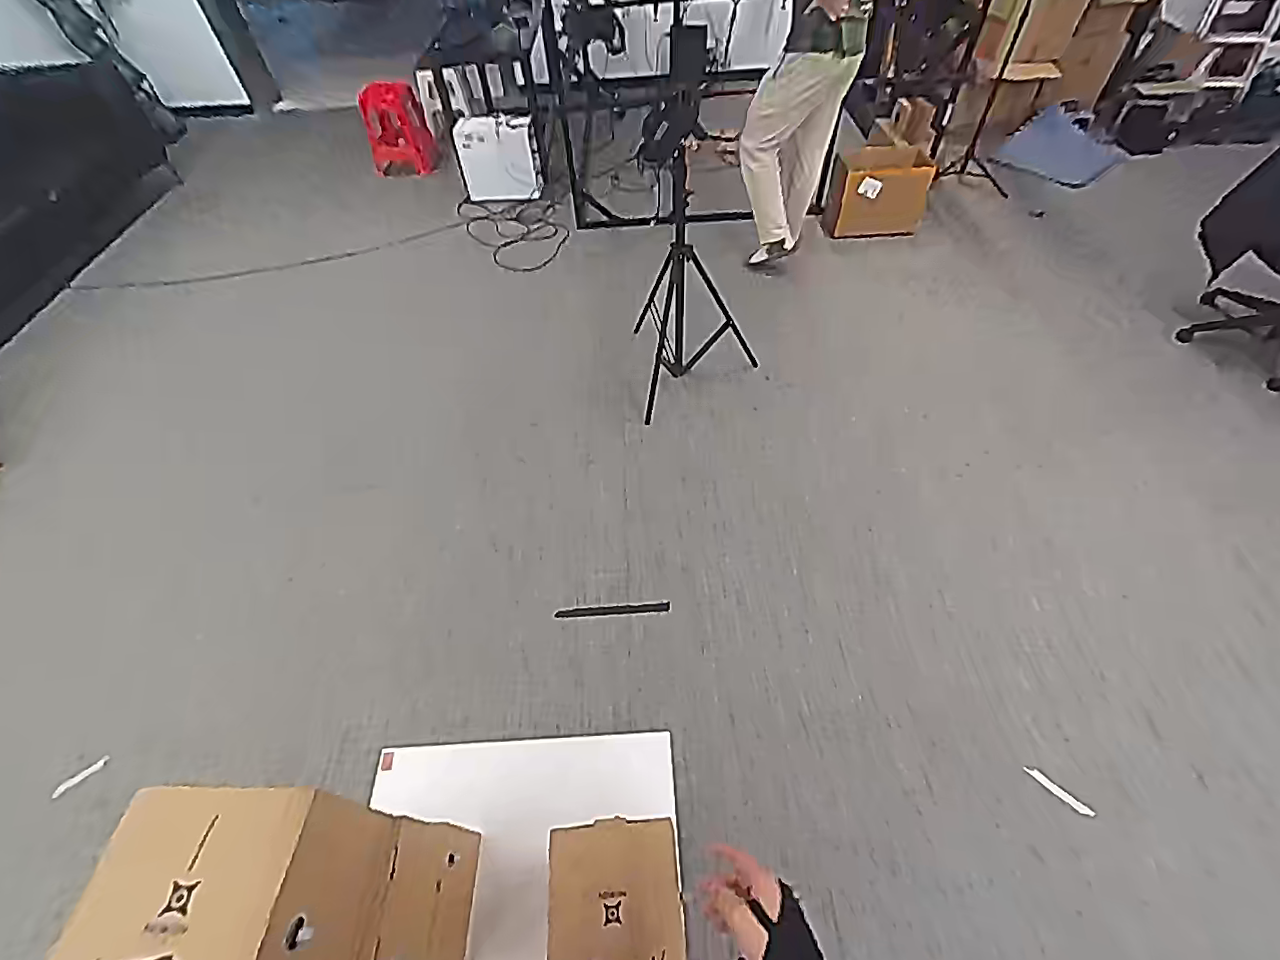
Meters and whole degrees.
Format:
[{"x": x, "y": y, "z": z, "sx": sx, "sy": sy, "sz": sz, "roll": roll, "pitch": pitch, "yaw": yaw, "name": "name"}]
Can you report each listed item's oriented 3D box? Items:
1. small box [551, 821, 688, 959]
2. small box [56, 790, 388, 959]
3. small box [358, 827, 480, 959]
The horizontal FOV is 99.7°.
[{"x": -0.023, "y": 0.581, "z": 0.731, "sx": 0.168, "sy": 0.176, "sz": 0.179, "roll": -6, "pitch": 51, "yaw": 1, "name": "small box"}, {"x": -0.356, "y": 0.393, "z": 0.485, "sx": 0.168, "sy": 0.176, "sz": 0.179, "roll": -1, "pitch": 51, "yaw": 3, "name": "small box"}, {"x": -0.331, "y": 0.593, "z": 0.746, "sx": 0.168, "sy": 0.176, "sz": 0.179, "roll": -3, "pitch": 51, "yaw": 1, "name": "small box"}]
